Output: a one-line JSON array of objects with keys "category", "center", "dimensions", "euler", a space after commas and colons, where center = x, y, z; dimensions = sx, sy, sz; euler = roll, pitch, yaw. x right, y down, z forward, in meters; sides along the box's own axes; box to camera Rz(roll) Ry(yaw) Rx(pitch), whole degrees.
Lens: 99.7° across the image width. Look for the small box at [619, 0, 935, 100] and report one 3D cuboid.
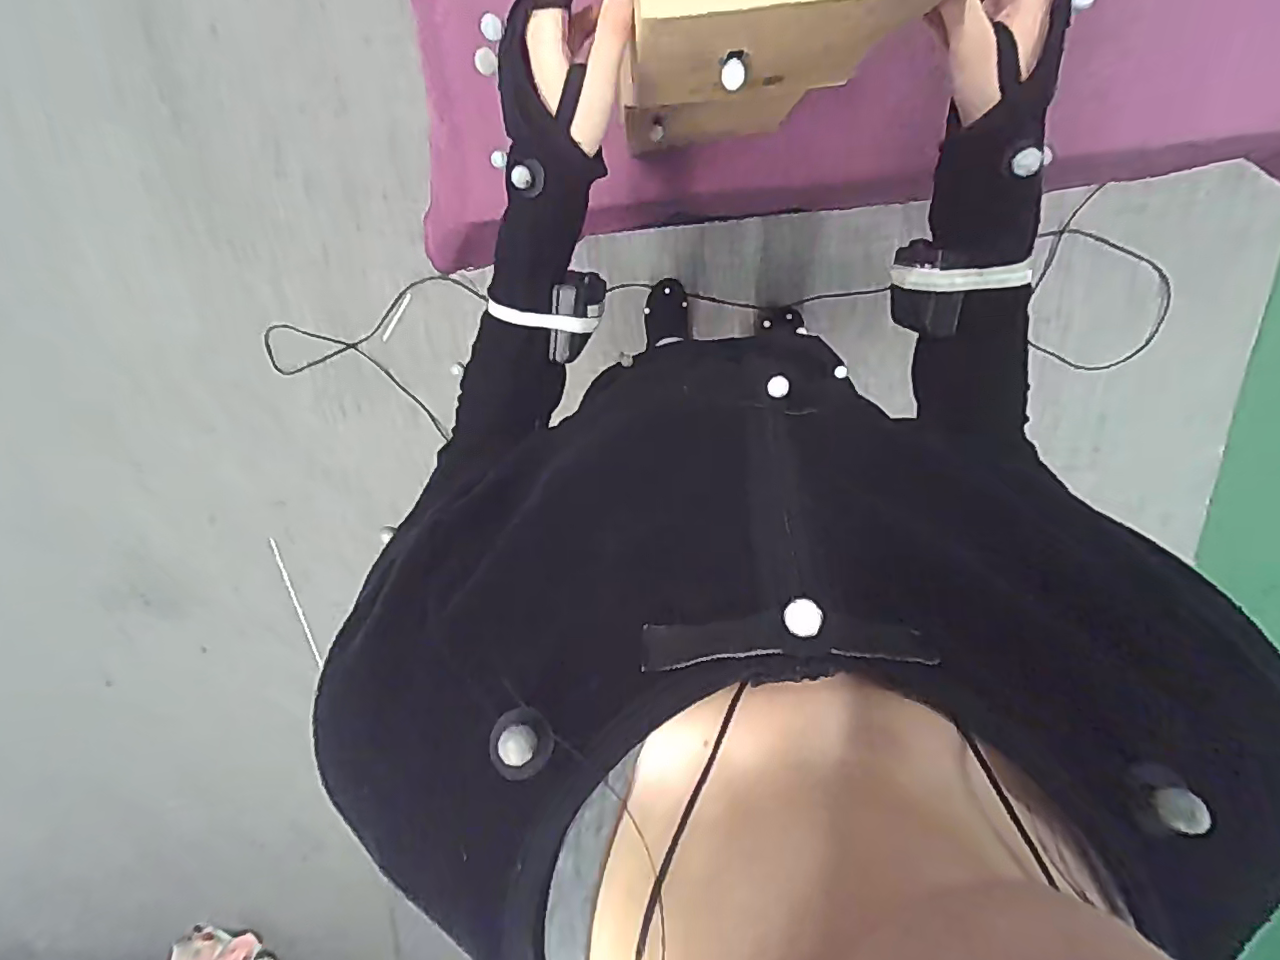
[{"category": "small box", "center": [0.067, -0.342, 0.310], "dimensions": [0.168, 0.176, 0.179], "euler": [-5, 111, 2]}]
